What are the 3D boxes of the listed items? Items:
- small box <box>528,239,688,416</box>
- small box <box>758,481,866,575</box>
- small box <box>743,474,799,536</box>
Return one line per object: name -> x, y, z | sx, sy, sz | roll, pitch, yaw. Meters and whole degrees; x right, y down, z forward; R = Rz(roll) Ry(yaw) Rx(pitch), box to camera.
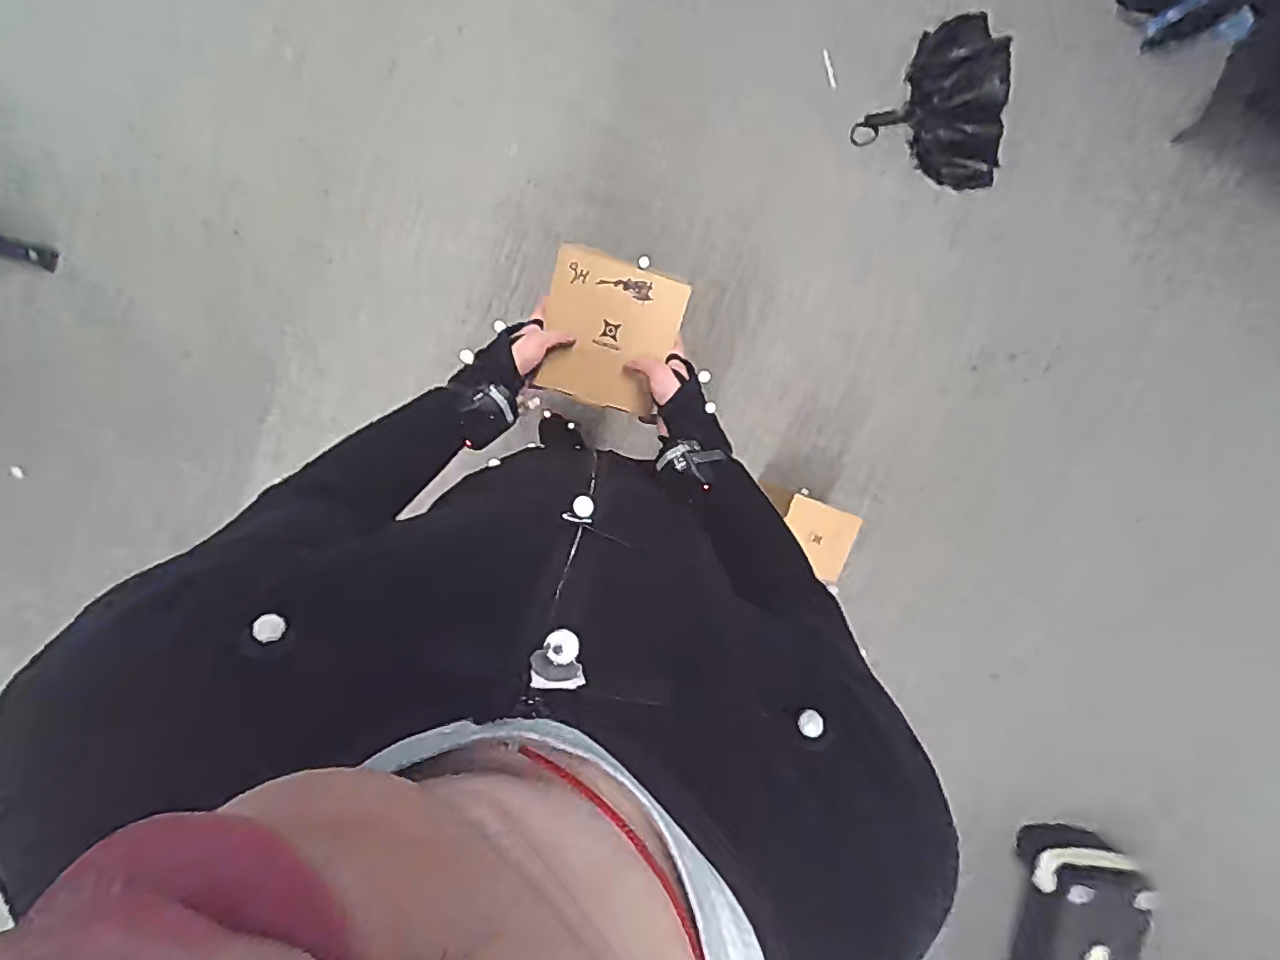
small box -> -0.041, -0.213, 0.737 | 0.168, 0.176, 0.179 | 15, 114, -6
small box -> 0.412, 0.109, 1.330 | 0.179, 0.176, 0.168 | 20, 97, -6
small box -> 0.407, 0.090, 1.491 | 0.179, 0.176, 0.168 | 21, 95, -4
